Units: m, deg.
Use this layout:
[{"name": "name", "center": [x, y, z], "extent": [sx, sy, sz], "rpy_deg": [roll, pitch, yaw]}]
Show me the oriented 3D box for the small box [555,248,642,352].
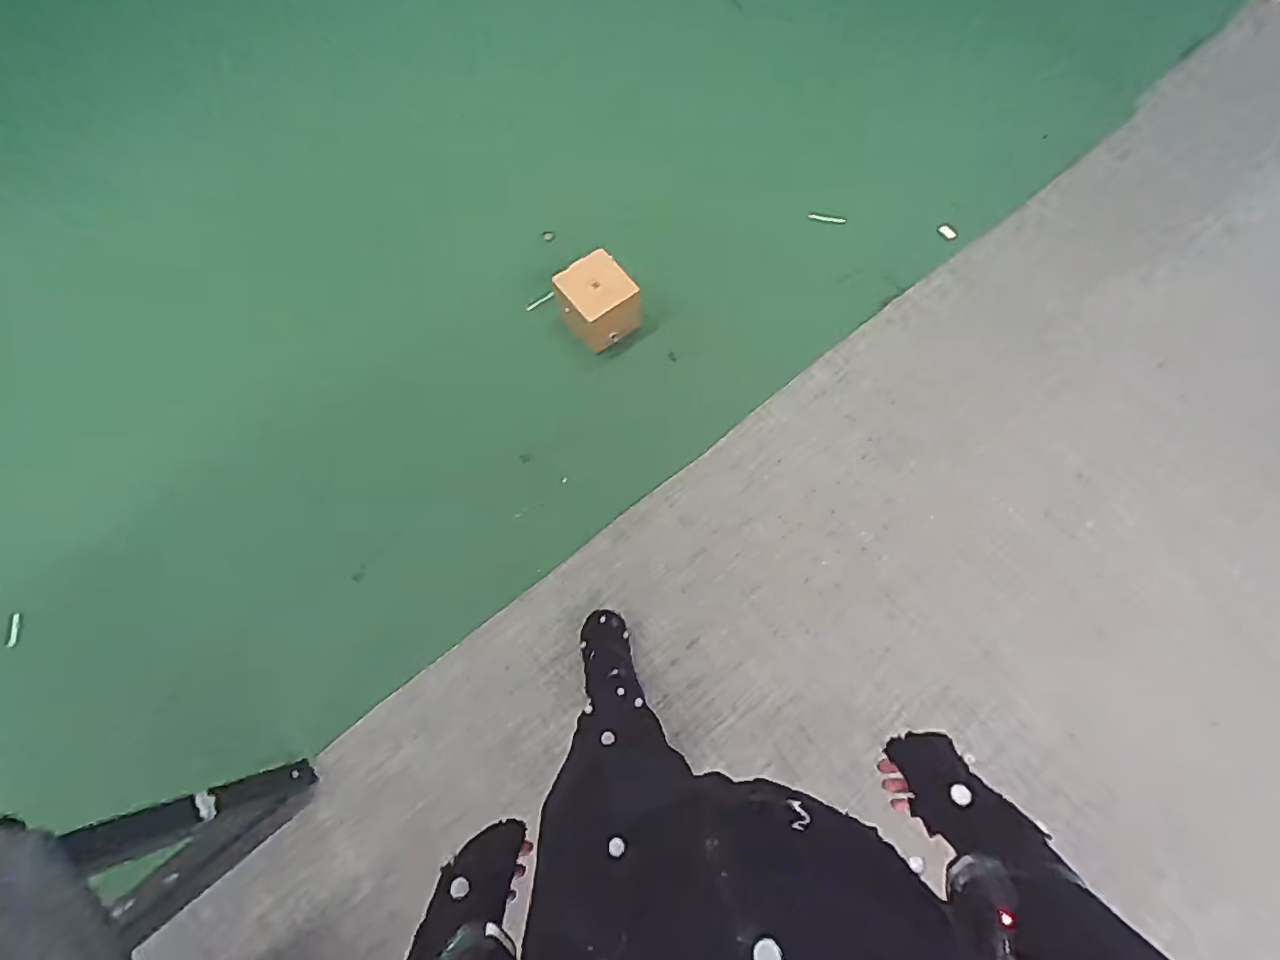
[{"name": "small box", "center": [-0.111, -0.491, 1.492], "extent": [0.168, 0.176, 0.179], "rpy_deg": [-37, 77, -11]}]
